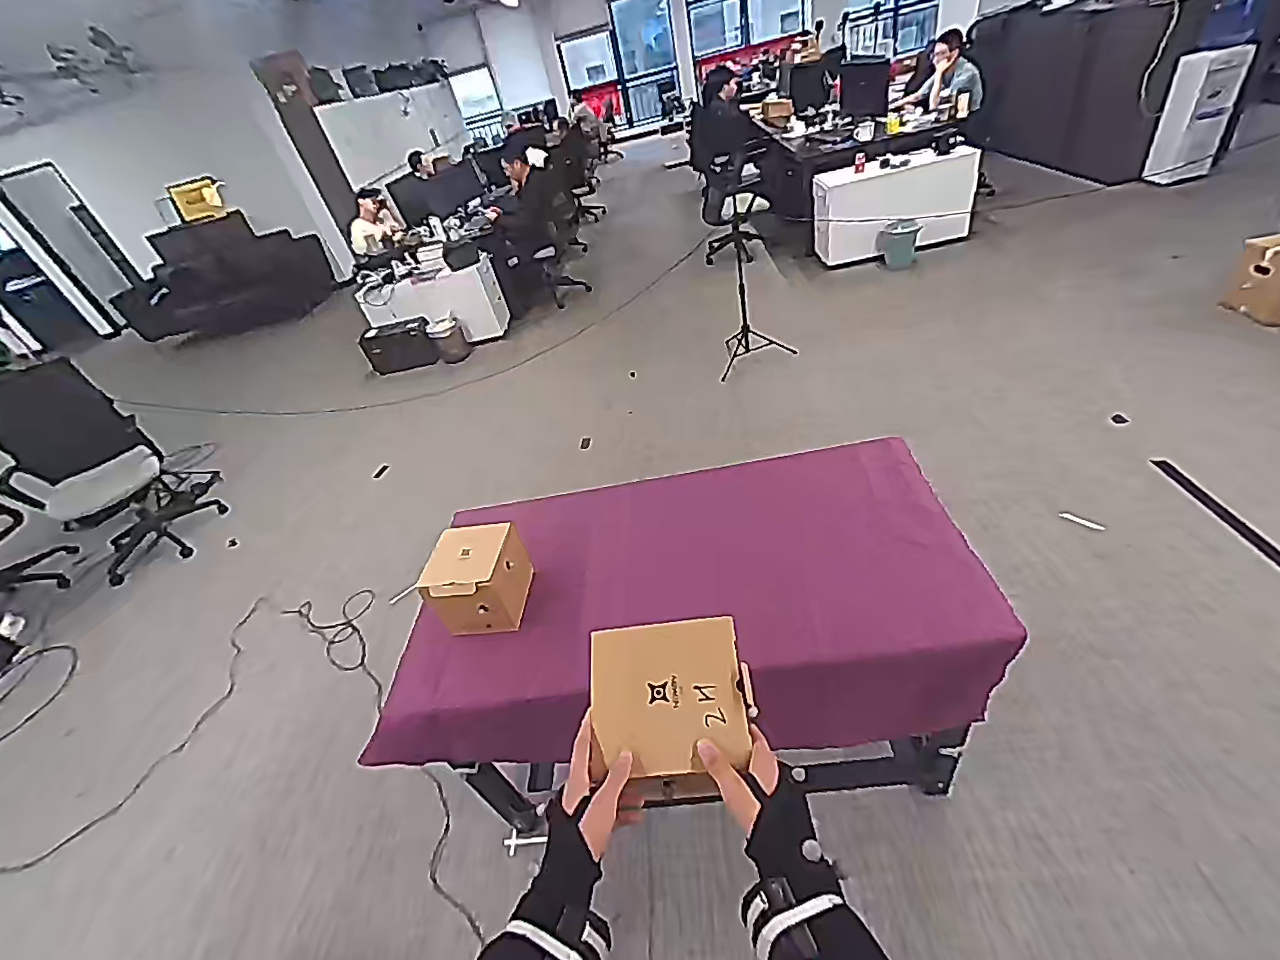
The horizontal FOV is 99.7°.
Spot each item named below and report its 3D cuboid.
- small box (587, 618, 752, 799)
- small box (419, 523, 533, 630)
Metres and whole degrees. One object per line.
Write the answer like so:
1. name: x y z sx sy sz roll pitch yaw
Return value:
1. small box: 0.041 0.287 0.668 0.179 0.176 0.168 -7 53 5
2. small box: -0.353 0.221 1.205 0.168 0.176 0.179 -5 38 10
